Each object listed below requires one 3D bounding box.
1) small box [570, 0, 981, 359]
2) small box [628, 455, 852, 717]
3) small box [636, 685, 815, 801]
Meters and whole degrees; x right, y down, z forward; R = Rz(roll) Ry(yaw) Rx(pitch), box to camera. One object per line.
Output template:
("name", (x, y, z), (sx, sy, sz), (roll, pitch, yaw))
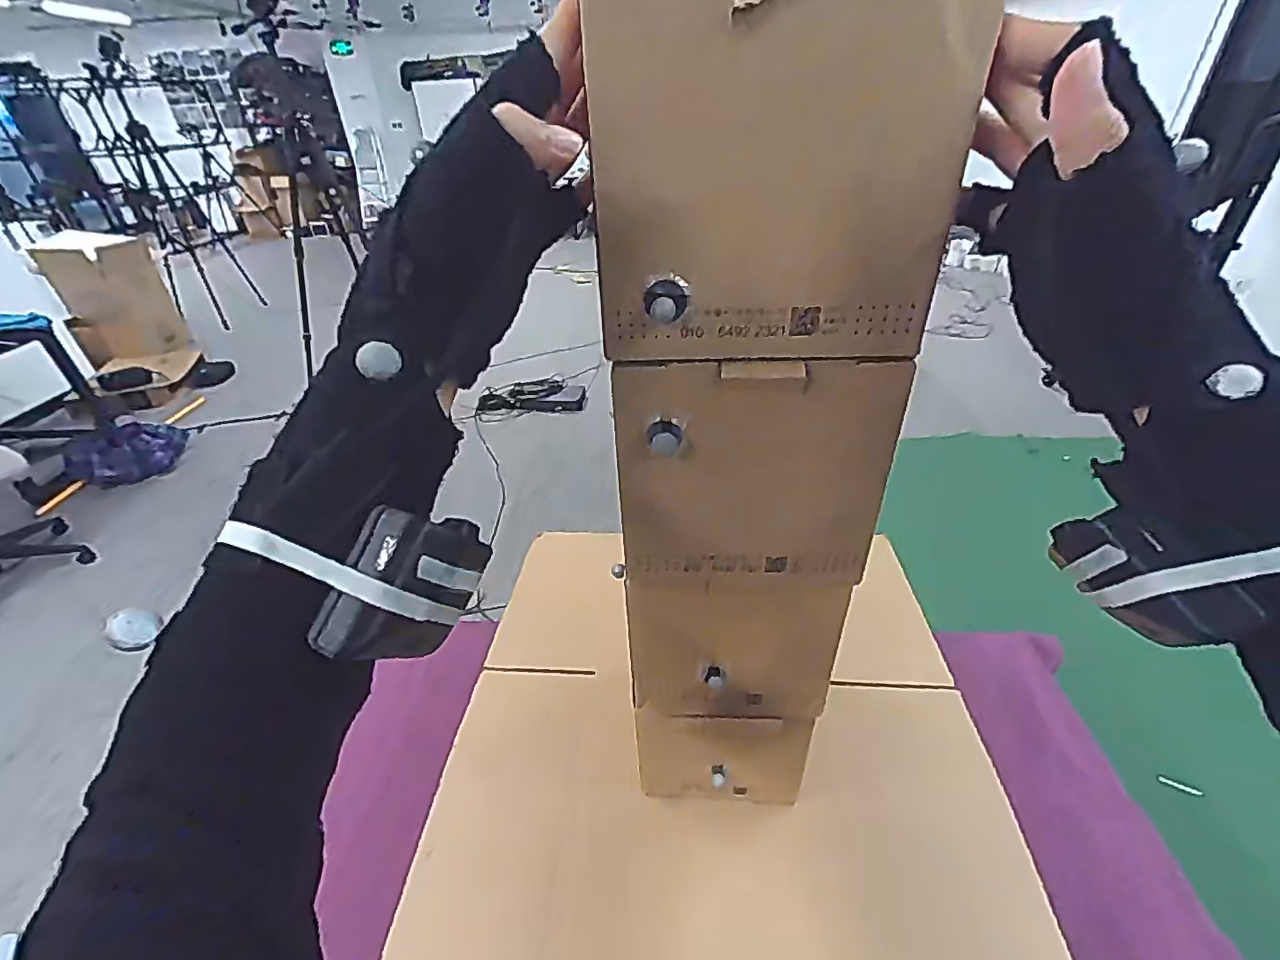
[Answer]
("small box", (0.063, -0.176, 0.313), (0.168, 0.176, 0.179), (0, 33, 4))
("small box", (0.079, 0.092, 0.505), (0.168, 0.176, 0.179), (-1, 35, 4))
("small box", (0.088, 0.222, 0.603), (0.168, 0.176, 0.179), (0, 35, 6))
